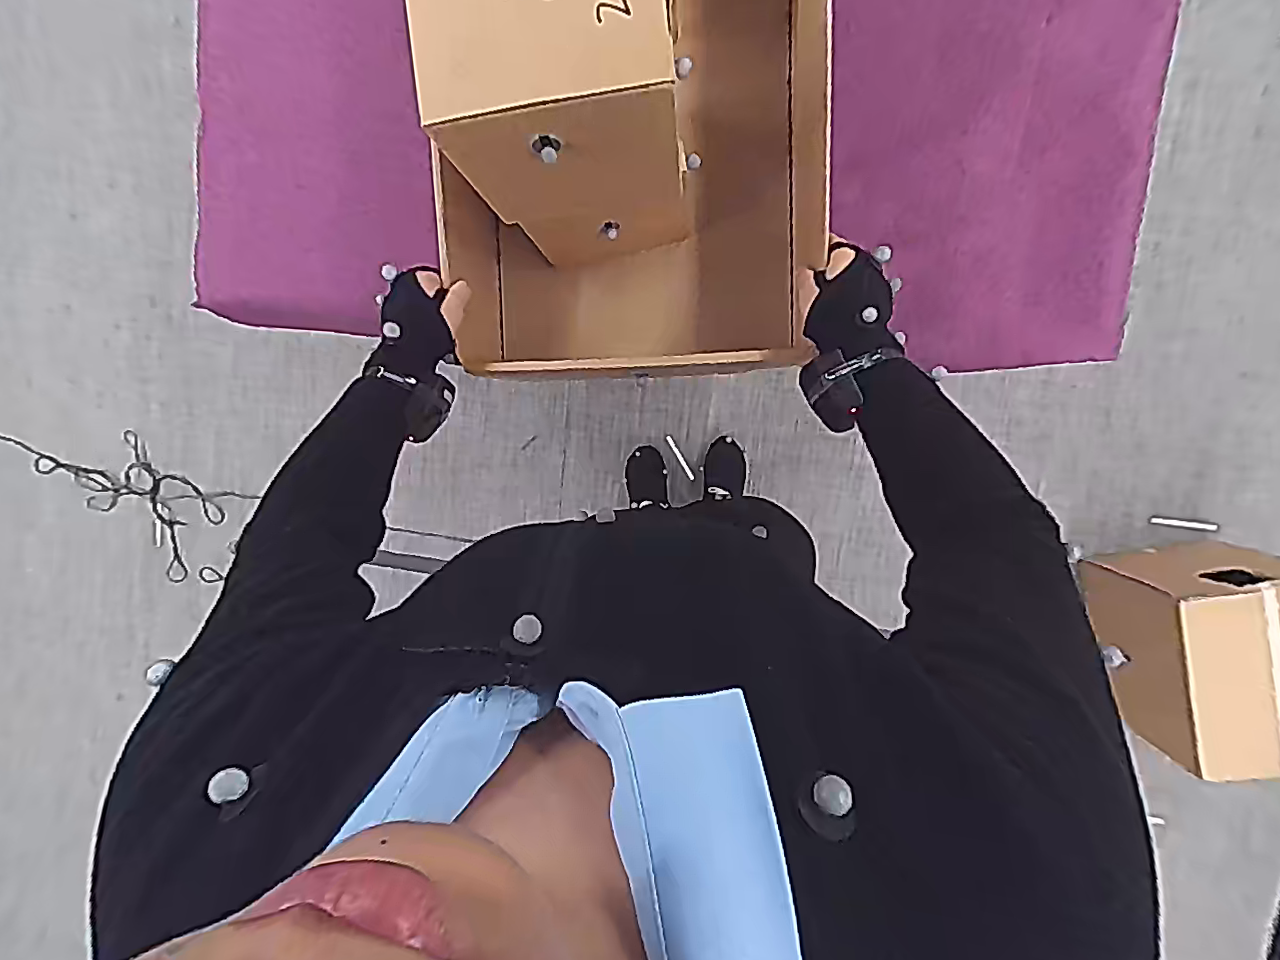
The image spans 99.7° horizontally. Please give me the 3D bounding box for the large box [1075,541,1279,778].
[{"bbox_3d":[1.288,0.387,1.239,0.320,0.320,0.408,-12,94,7],"label":"large box"}]

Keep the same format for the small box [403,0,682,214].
[{"bbox_3d":[-0.063,-0.331,0.425,0.179,0.176,0.168,-5,94,6],"label":"small box"}]
